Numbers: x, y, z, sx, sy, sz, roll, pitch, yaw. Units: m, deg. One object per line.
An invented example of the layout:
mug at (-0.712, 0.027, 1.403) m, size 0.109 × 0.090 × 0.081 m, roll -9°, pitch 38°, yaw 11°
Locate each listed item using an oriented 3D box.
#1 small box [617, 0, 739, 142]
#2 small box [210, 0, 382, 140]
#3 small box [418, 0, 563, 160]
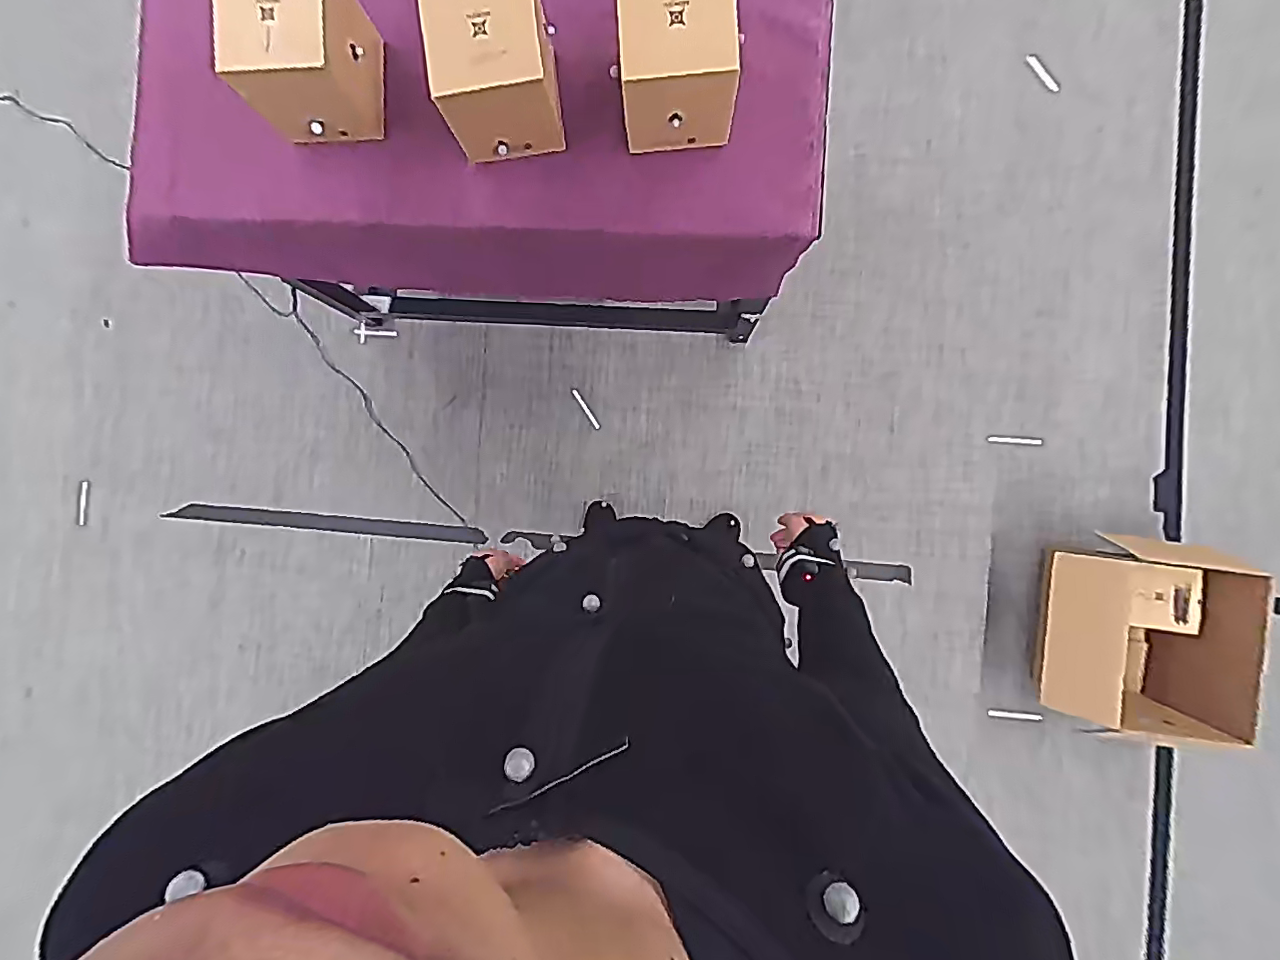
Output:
small box at (0.056, -0.640, 0.814) m, size 0.168 × 0.176 × 0.179 m, roll -3°, pitch 89°, yaw 3°
small box at (-0.524, -0.671, 0.845) m, size 0.168 × 0.176 × 0.179 m, roll -1°, pitch 91°, yaw 3°
small box at (-0.221, -0.634, 0.830) m, size 0.168 × 0.176 × 0.179 m, roll -7°, pitch 89°, yaw 4°
